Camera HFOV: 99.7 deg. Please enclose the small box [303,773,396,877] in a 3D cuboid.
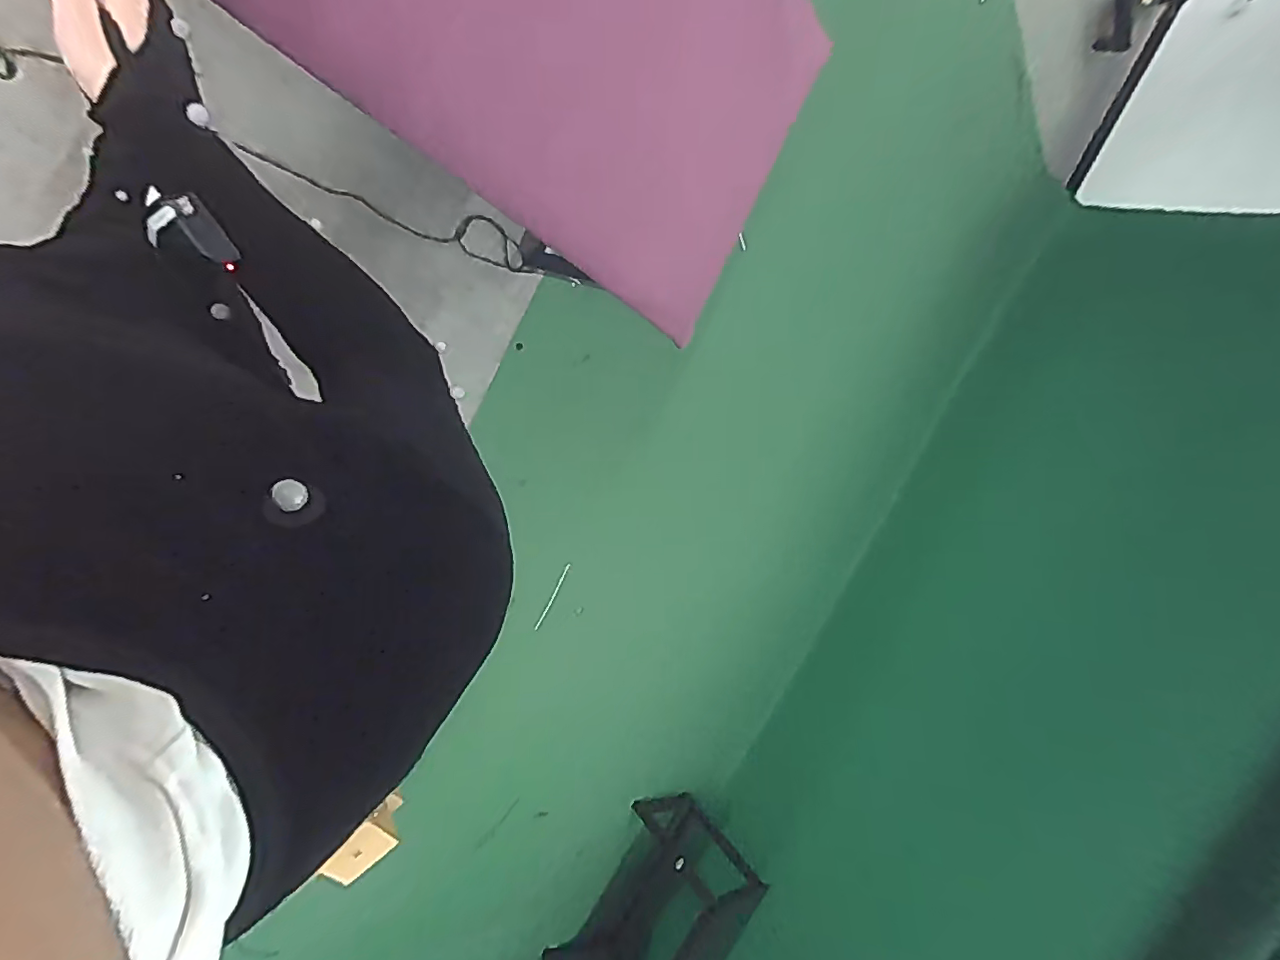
[{"bbox_3d":[-0.850,1.000,1.581,0.168,0.176,0.179,-35,130,-19],"label":"small box"}]
